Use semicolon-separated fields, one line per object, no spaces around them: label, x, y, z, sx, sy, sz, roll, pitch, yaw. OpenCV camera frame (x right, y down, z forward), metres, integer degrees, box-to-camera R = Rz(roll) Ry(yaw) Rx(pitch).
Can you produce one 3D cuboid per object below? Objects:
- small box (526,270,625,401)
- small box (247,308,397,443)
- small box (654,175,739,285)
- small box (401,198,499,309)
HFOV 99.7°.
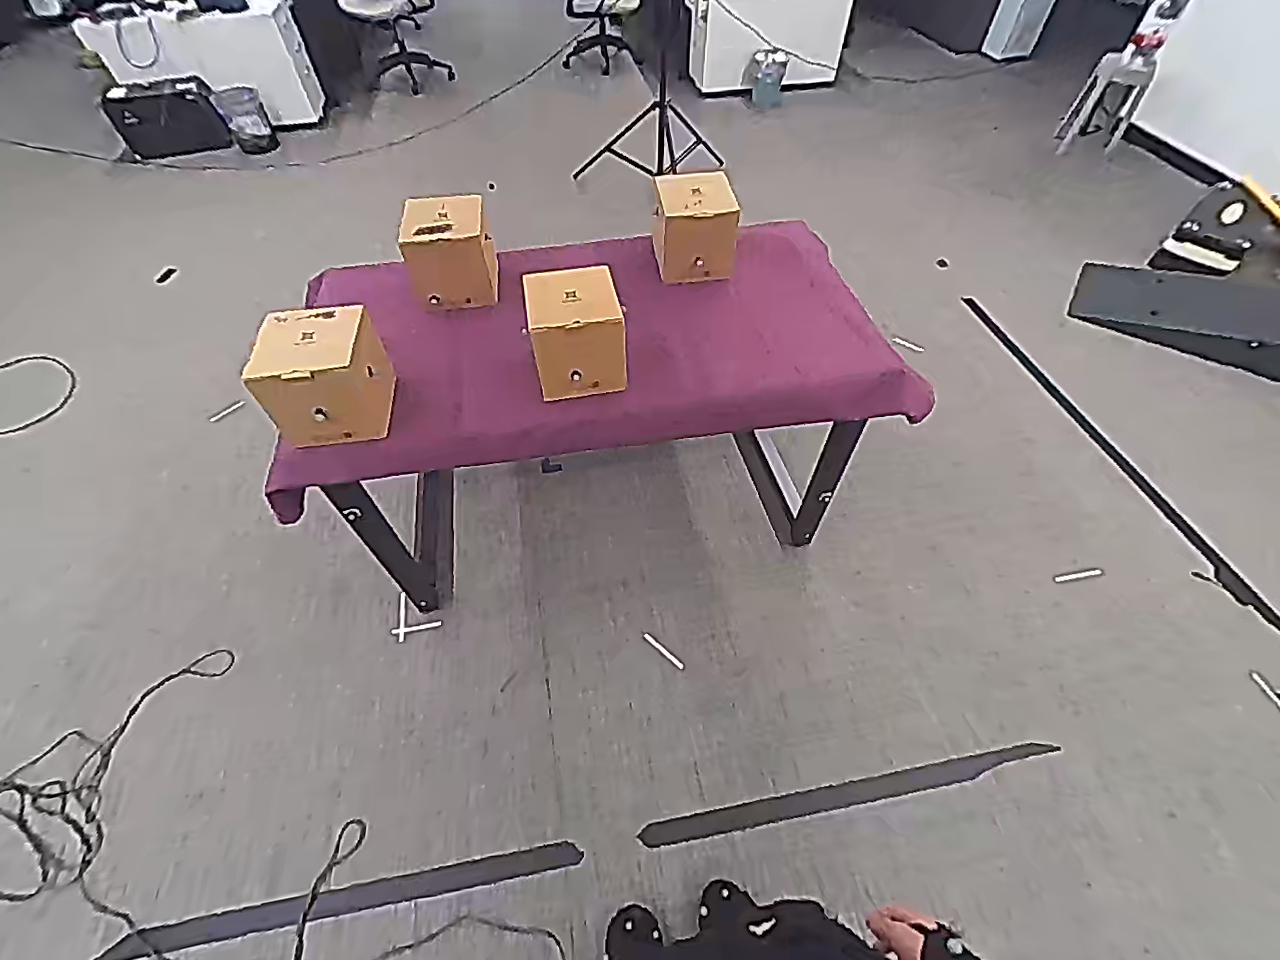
small box;-0.123;-0.279;1.047;0.168;0.176;0.179;-10;53;-7
small box;-0.554;-0.180;0.972;0.168;0.176;0.179;-7;53;-6
small box;0.124;-0.585;1.270;0.168;0.176;0.179;-6;56;-3
small box;-0.416;-0.501;1.213;0.168;0.176;0.179;-7;54;-5
